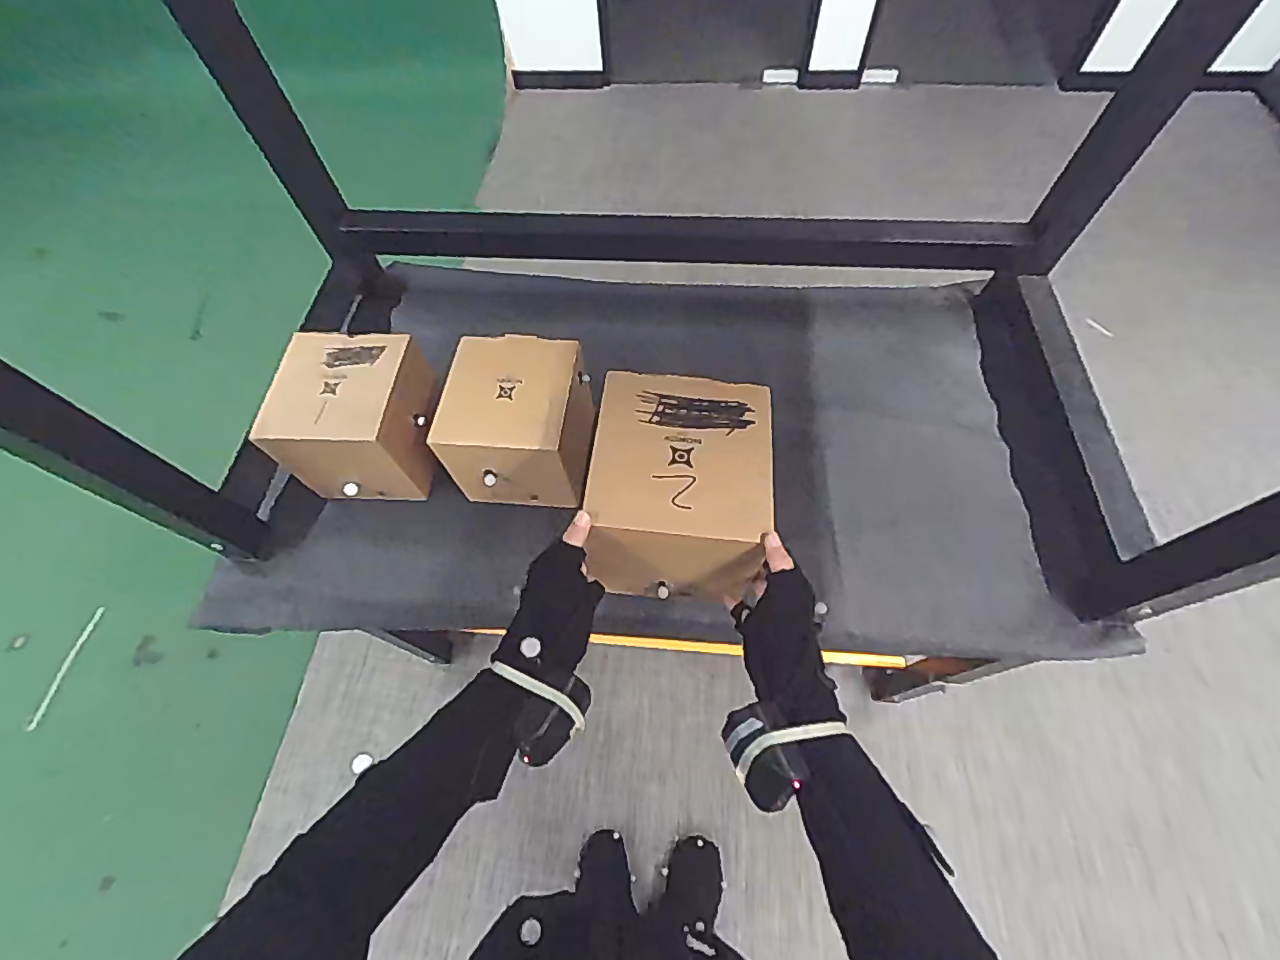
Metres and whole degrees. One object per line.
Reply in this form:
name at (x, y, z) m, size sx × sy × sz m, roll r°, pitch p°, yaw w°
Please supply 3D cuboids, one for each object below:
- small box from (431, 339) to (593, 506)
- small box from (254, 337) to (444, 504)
small box at (-0.164, -0.075, 0.761) m, size 0.168 × 0.176 × 0.179 m, roll 3°, pitch 61°, yaw 5°
small box at (-0.391, -0.082, 0.774) m, size 0.168 × 0.176 × 0.179 m, roll 1°, pitch 61°, yaw 4°
